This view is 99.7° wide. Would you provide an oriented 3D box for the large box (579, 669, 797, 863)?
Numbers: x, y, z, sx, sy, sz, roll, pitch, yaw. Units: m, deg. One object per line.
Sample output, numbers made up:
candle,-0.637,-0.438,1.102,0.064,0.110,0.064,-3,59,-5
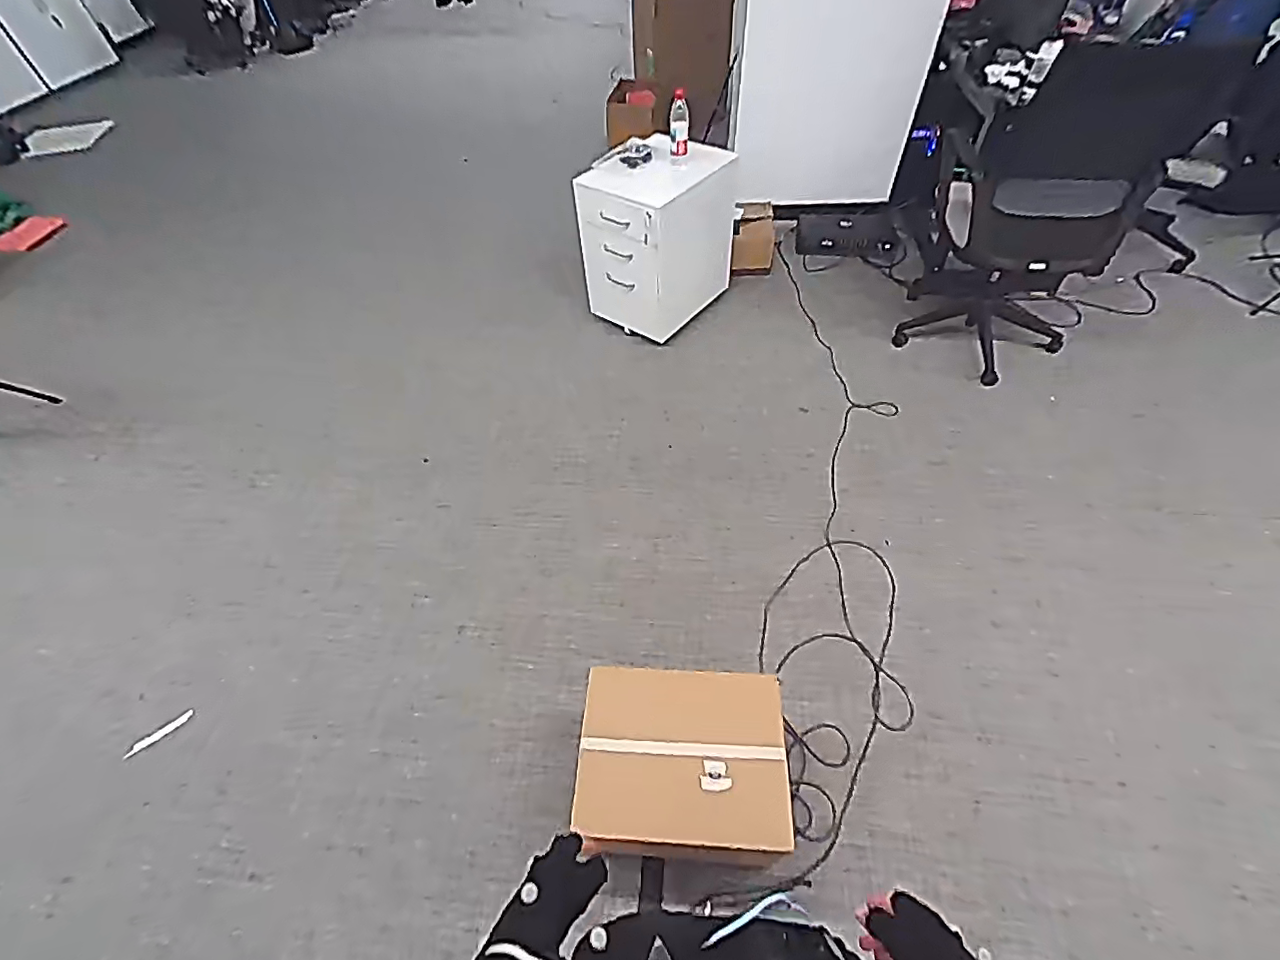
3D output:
large box,0.100,0.630,1.185,0.408,0.320,0.320,1,51,5
